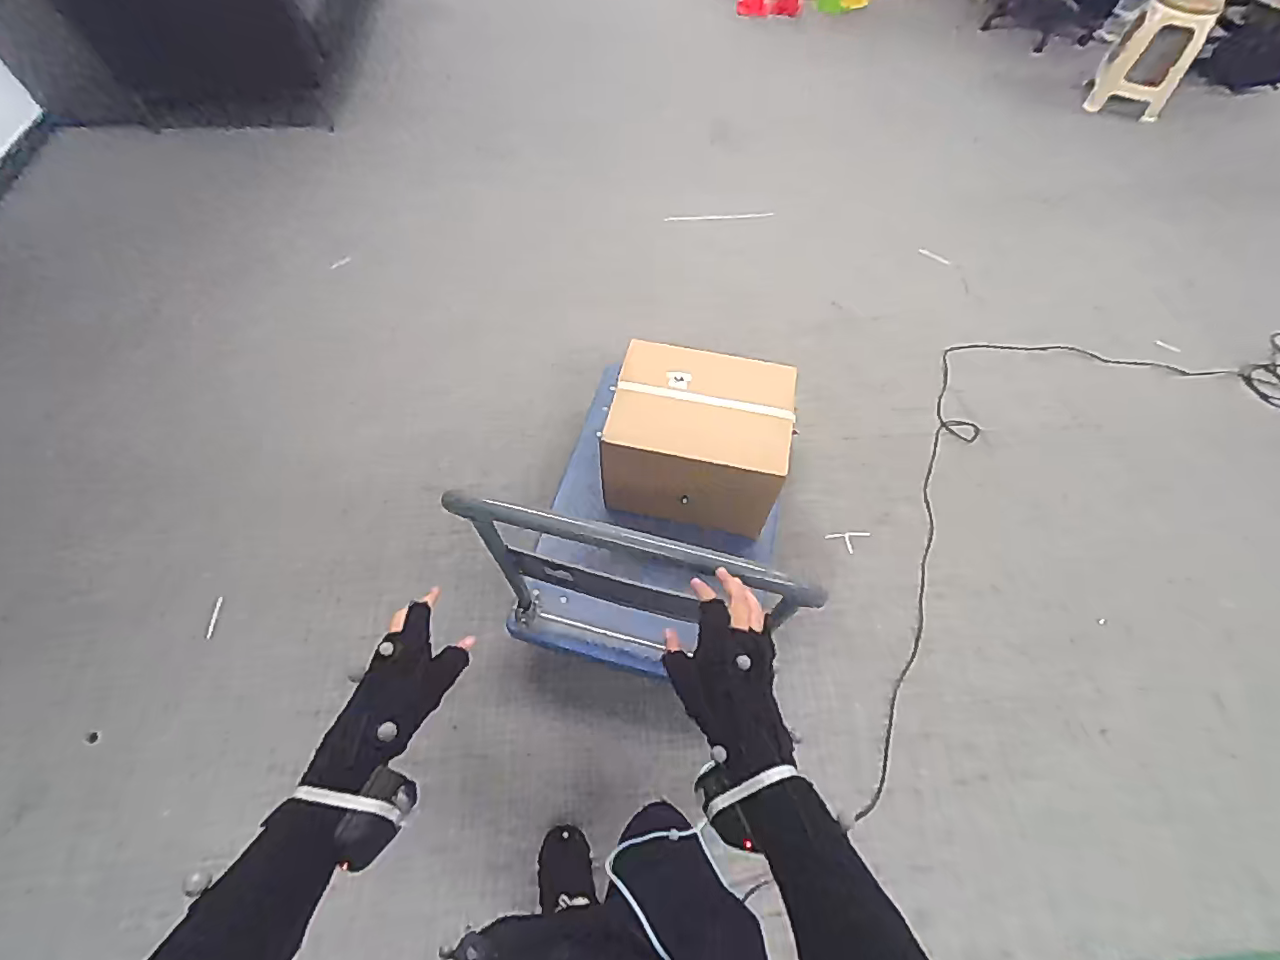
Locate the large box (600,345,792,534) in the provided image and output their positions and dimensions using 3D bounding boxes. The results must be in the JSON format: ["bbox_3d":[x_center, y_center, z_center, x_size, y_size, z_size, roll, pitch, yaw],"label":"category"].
[{"bbox_3d":[0.139,-0.093,1.348,0.408,0.320,0.320,11,59,7],"label":"large box"}]
